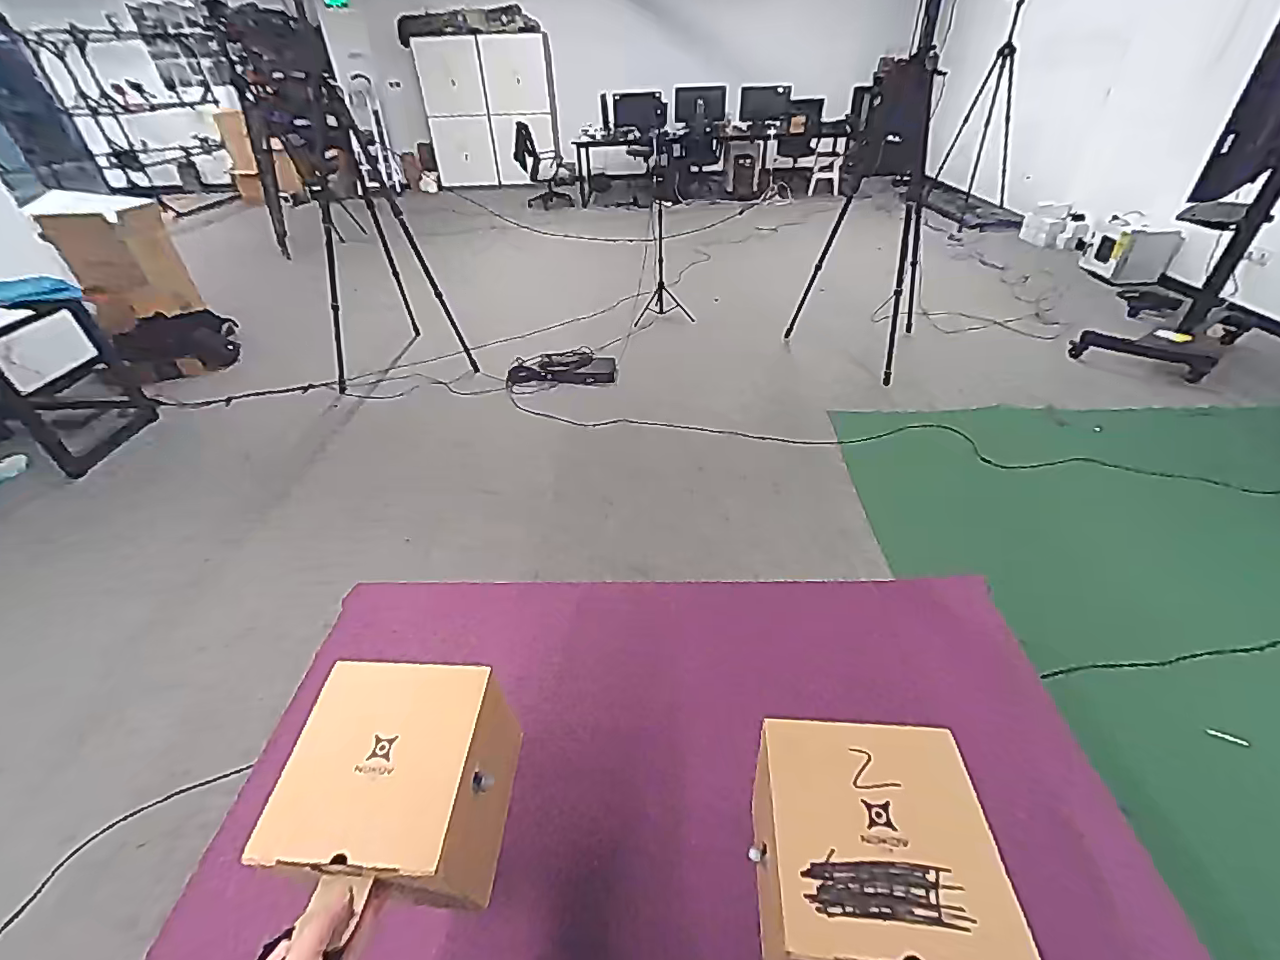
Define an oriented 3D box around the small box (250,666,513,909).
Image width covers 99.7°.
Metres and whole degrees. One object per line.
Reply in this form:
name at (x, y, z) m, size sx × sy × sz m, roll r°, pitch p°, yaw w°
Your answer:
small box at (-0.238, 0.316, 0.558) m, size 0.168 × 0.176 × 0.179 m, roll 1°, pitch 45°, yaw 4°
